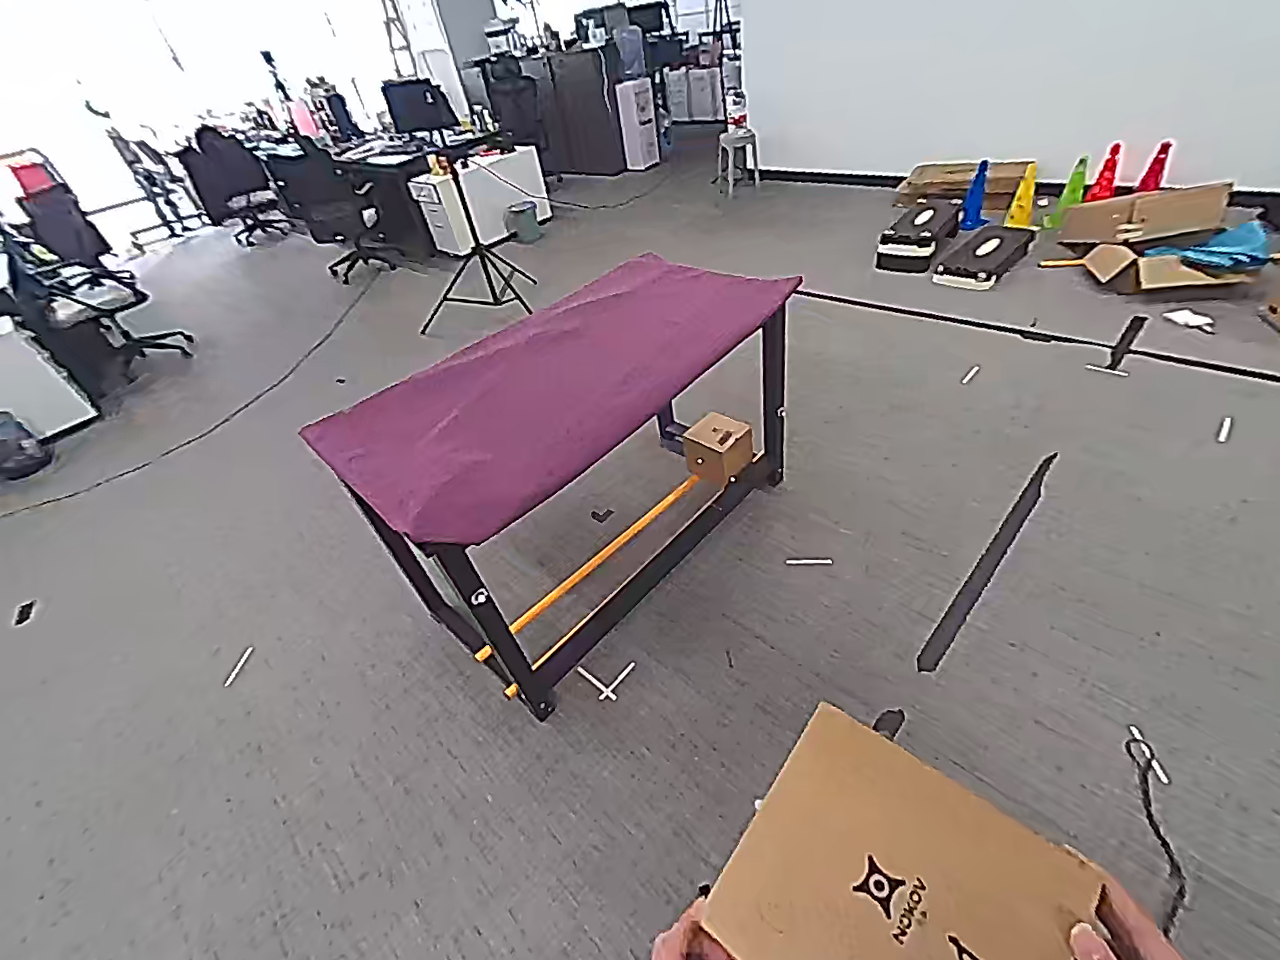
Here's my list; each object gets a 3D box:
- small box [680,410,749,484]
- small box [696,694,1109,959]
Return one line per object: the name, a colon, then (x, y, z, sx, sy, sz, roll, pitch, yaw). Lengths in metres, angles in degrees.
small box: (0.265, -0.111, 1.875, 0.179, 0.176, 0.168, 28, 55, 36)
small box: (0.164, 0.292, 0.376, 0.179, 0.176, 0.168, 27, 63, 33)
